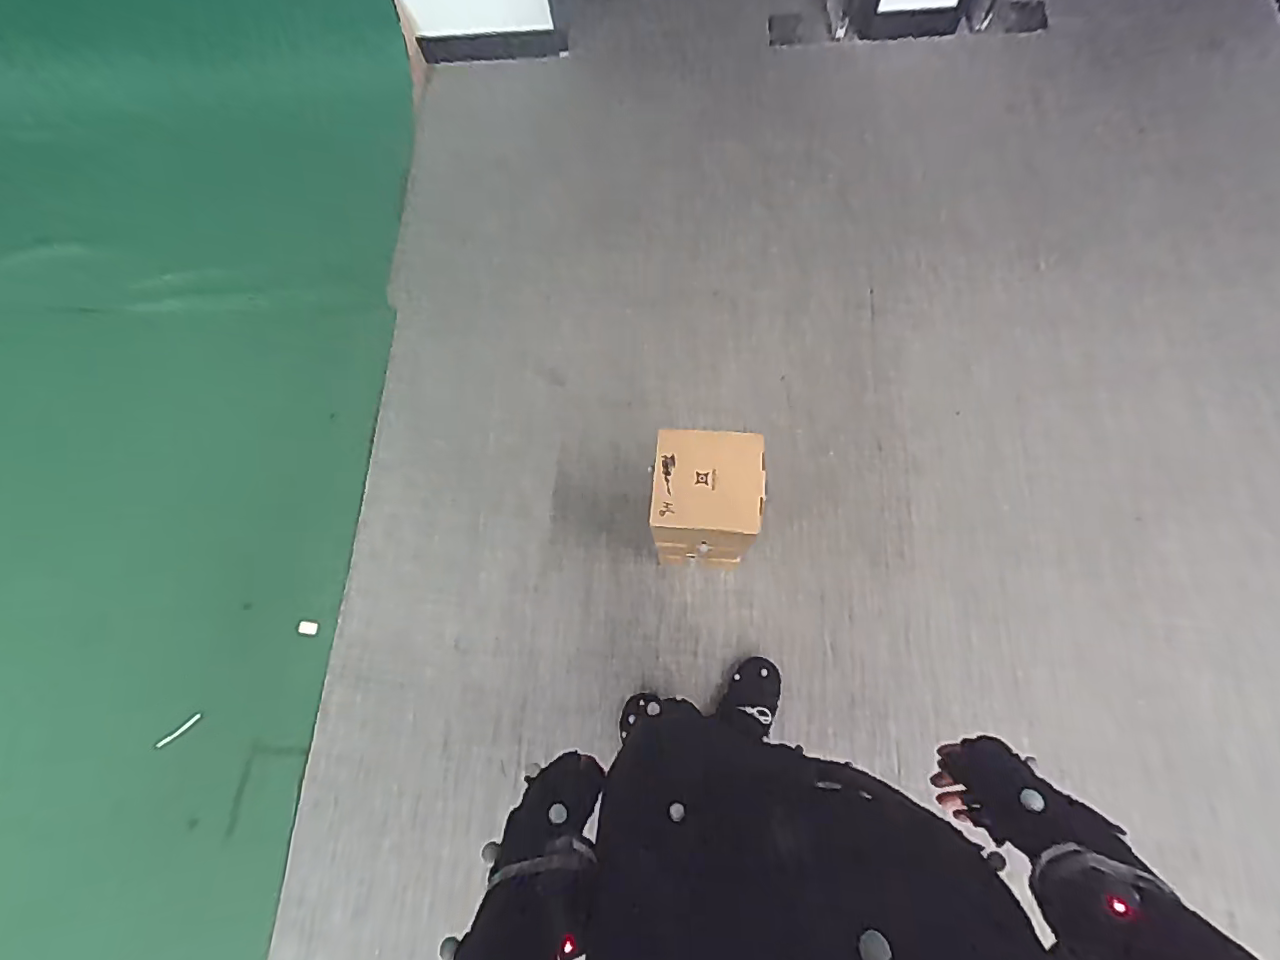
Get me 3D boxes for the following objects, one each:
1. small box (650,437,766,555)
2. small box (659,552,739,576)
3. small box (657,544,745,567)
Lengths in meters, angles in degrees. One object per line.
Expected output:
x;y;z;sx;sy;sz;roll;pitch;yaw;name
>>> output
0.118;0.034;0.945;0.179;0.176;0.168;4;75;7;small box
0.141;0.132;1.272;0.179;0.176;0.168;3;75;6;small box
0.126;0.077;1.103;0.168;0.176;0.179;2;76;7;small box
